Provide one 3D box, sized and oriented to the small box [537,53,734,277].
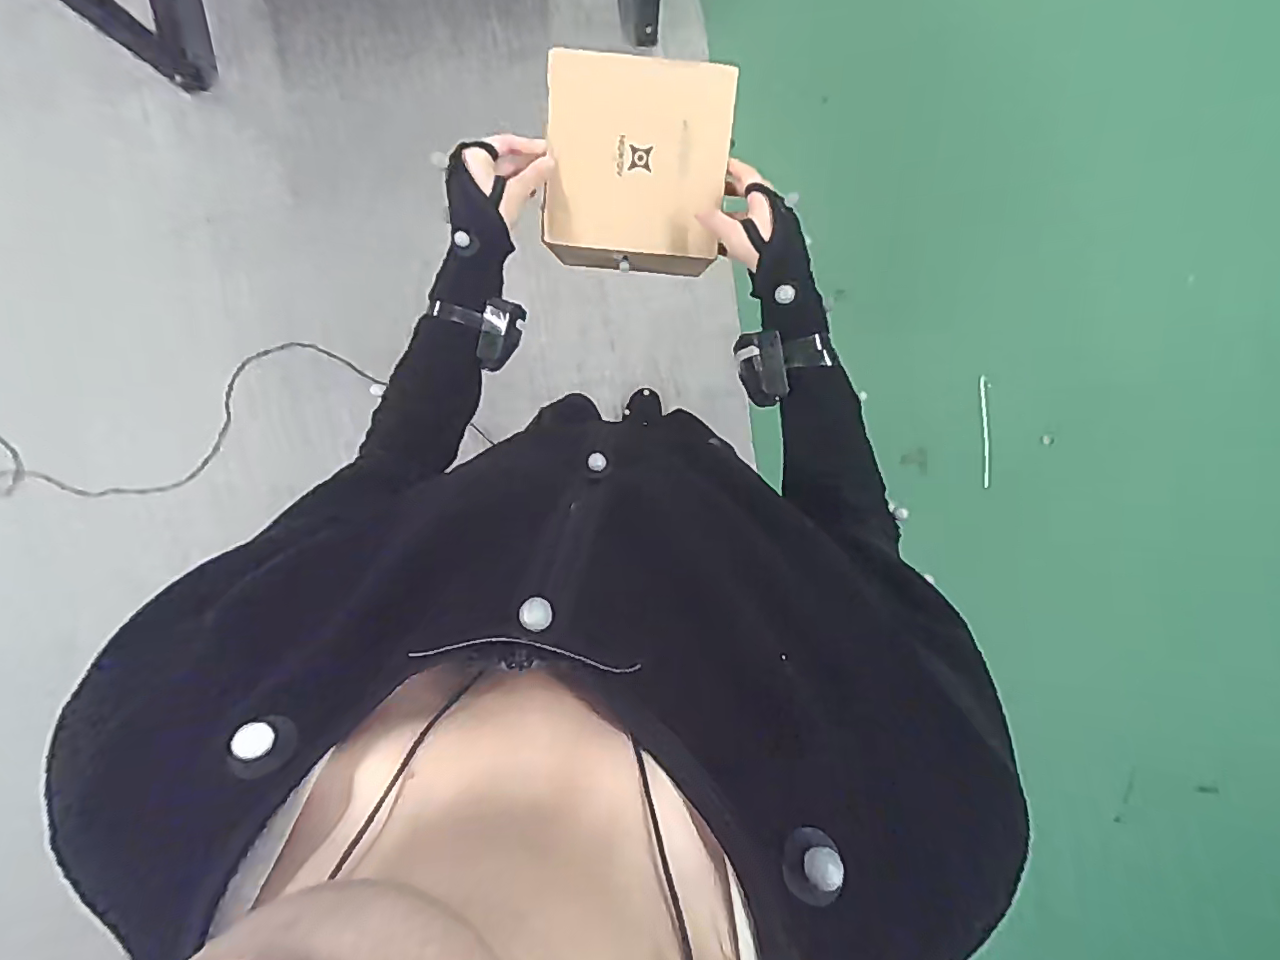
[{"bbox_3d":[-0.007,-0.323,0.590,0.179,0.176,0.168,5,104,-2],"label":"small box"}]
